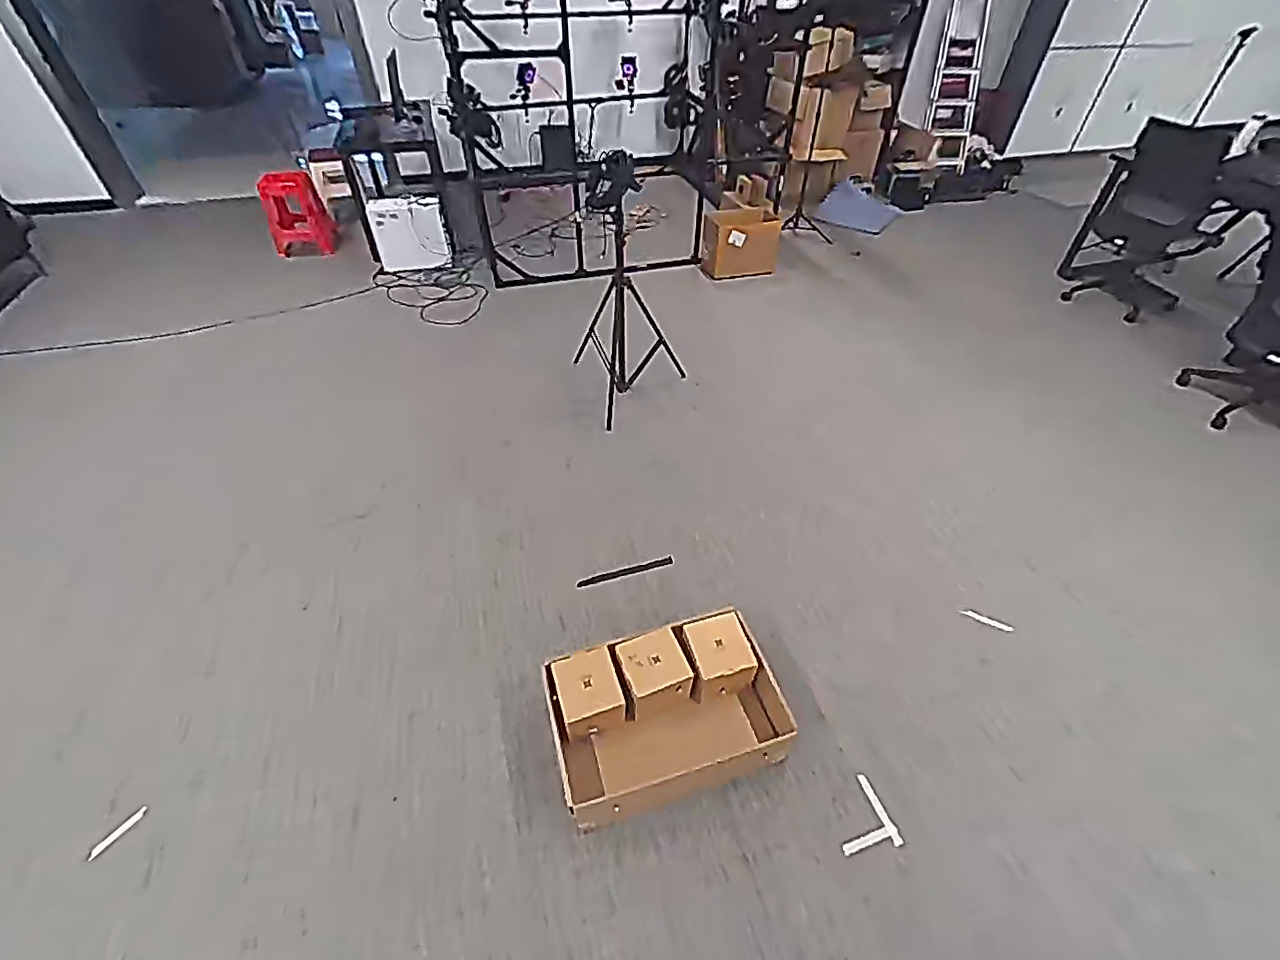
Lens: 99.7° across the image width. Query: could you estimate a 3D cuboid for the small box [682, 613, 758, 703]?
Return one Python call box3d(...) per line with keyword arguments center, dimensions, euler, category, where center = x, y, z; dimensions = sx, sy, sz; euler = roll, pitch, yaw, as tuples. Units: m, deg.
box3d(center=(0.228, 0.529, 1.607), dimensions=(0.168, 0.176, 0.179), euler=(-13, 49, -11), category="small box")
